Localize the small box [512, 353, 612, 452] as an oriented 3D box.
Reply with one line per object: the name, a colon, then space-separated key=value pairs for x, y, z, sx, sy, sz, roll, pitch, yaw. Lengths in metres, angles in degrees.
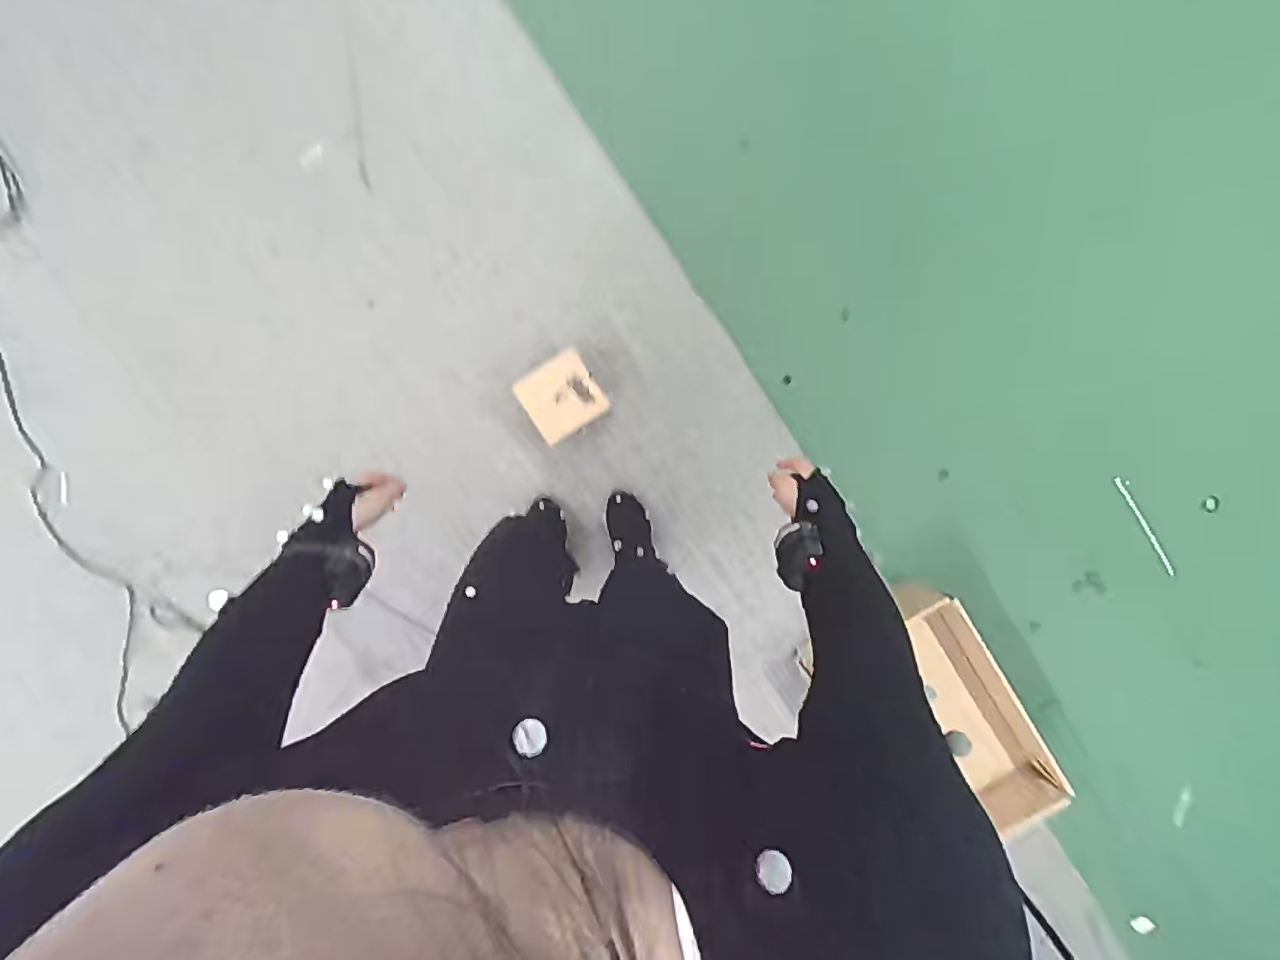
small box: x=-0.181 y=-0.187 z=1.321 sx=0.179 sy=0.176 sz=0.168 roll=-33 pitch=95 yaw=4
